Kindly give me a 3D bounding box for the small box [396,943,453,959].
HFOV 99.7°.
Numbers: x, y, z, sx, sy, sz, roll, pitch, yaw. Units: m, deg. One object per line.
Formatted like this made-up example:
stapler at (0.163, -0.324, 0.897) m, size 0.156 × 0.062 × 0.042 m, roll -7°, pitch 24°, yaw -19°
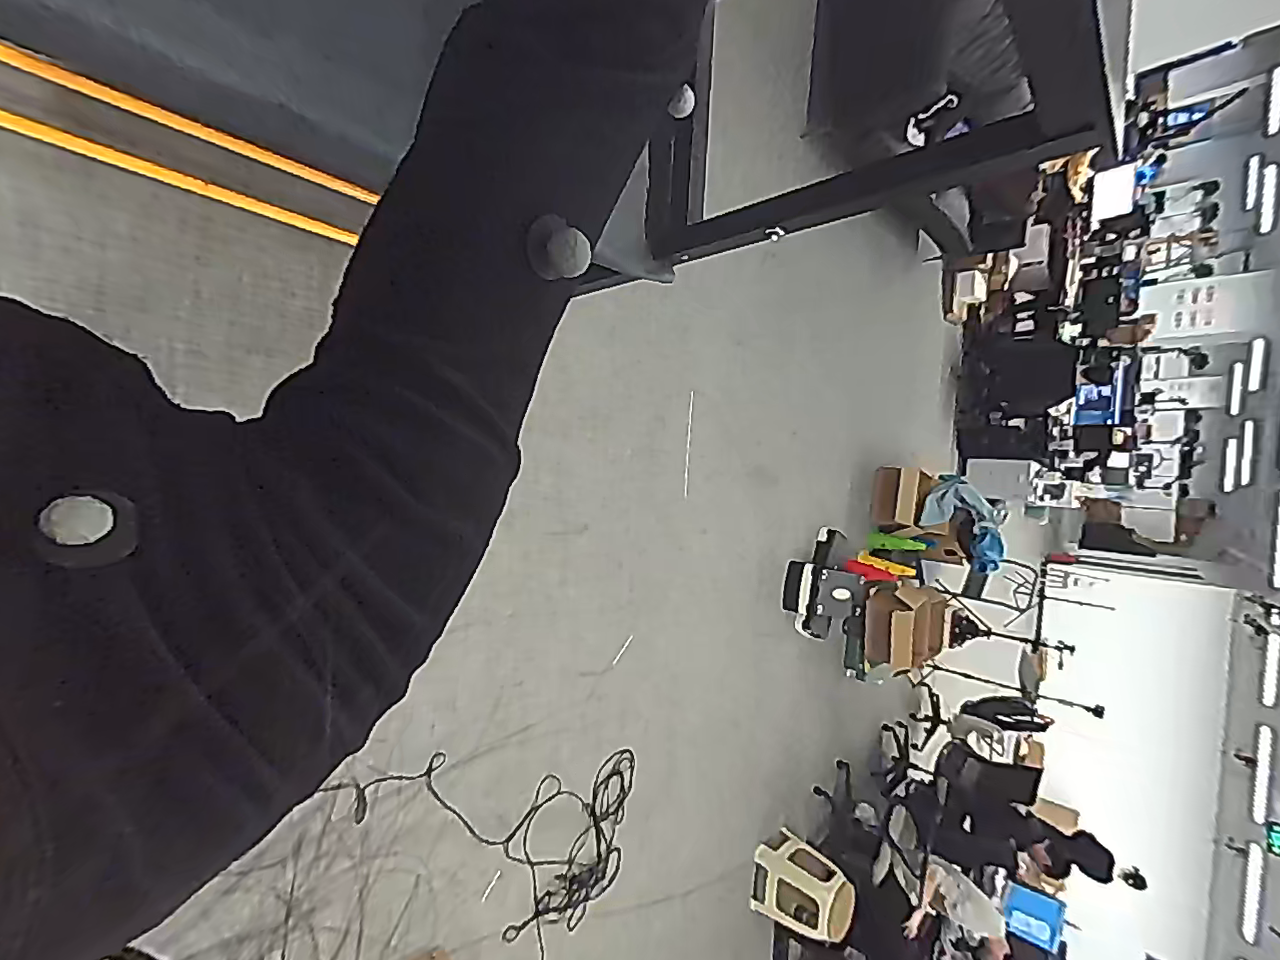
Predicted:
small box at (-0.637, 1.498, 1.563) m, size 0.168 × 0.176 × 0.179 m, roll 8°, pitch 88°, yaw -47°
